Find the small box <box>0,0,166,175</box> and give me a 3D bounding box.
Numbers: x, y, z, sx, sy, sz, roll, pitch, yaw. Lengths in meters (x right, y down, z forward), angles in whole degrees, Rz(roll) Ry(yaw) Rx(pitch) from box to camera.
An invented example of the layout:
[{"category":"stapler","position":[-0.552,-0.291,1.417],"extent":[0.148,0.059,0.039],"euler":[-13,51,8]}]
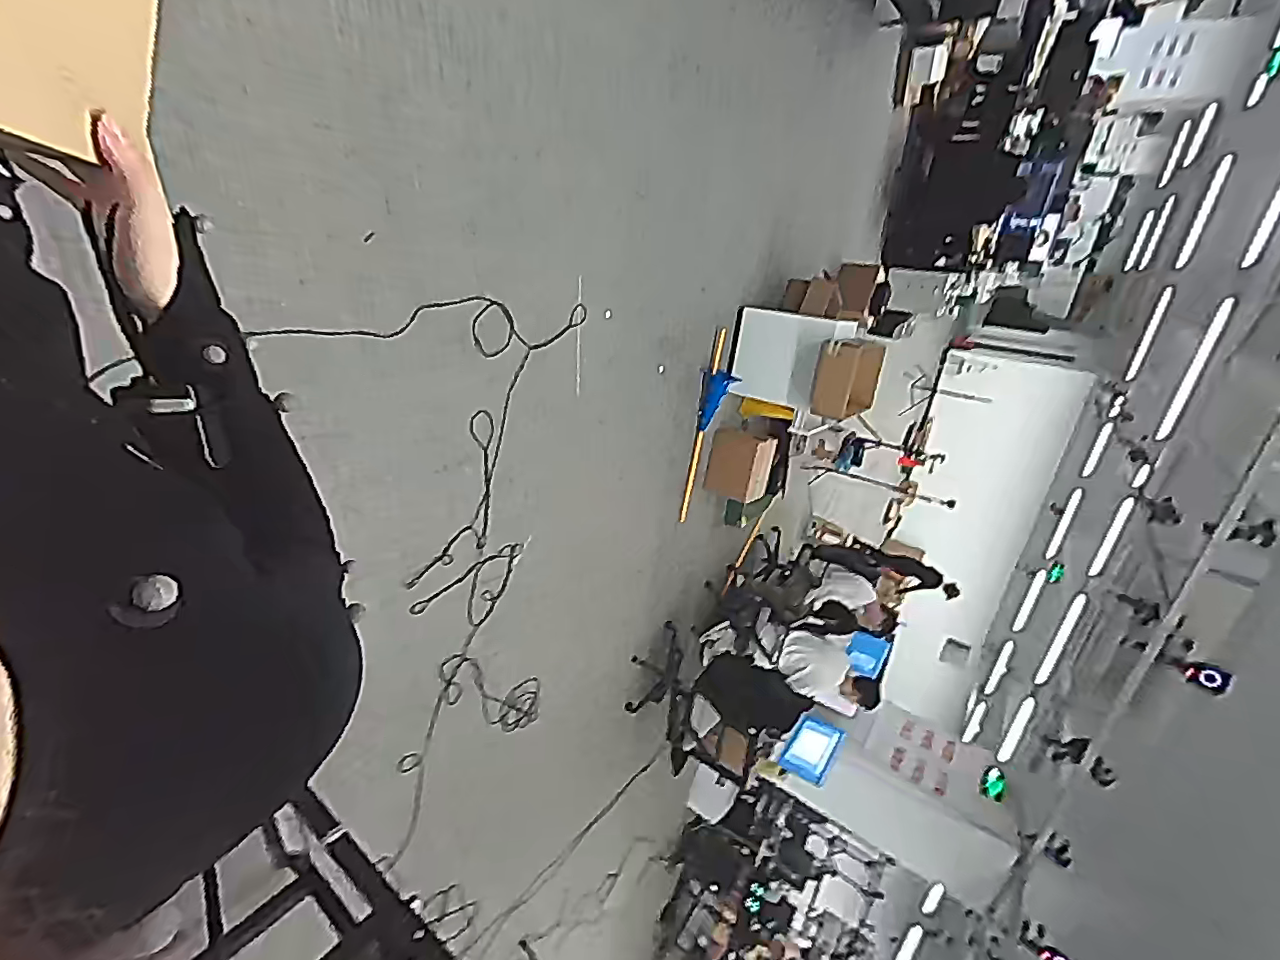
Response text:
[{"category":"small box","position":[-0.371,-0.279,0.248],"extent":[0.168,0.176,0.179],"euler":[-34,141,-75]}]
